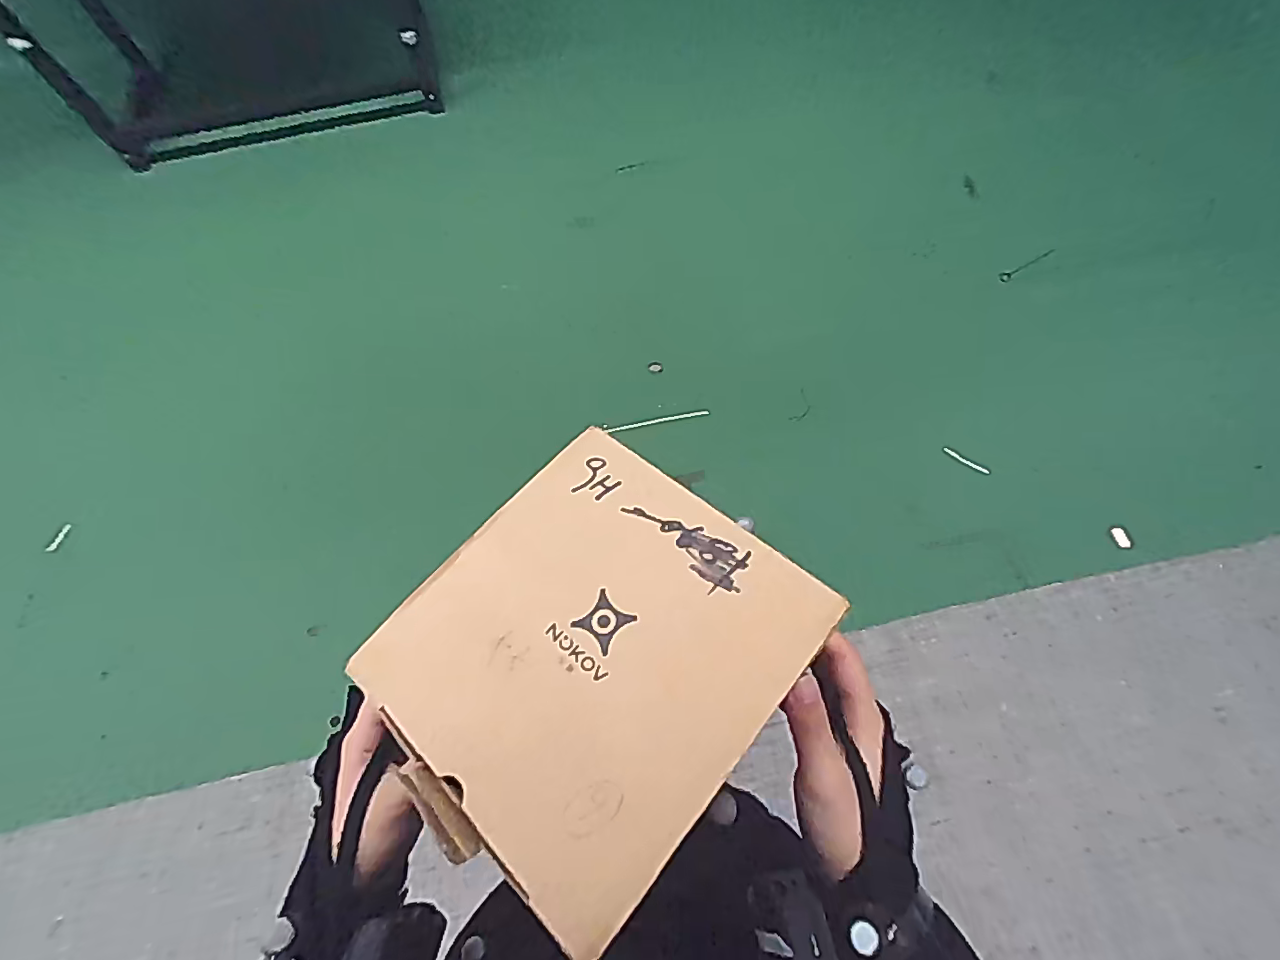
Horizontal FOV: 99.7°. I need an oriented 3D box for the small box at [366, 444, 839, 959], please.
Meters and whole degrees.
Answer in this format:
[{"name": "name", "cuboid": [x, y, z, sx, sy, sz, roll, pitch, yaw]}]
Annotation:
[{"name": "small box", "cuboid": [-0.011, 0.119, 0.326, 0.168, 0.176, 0.179, 36, 70, 24]}]
